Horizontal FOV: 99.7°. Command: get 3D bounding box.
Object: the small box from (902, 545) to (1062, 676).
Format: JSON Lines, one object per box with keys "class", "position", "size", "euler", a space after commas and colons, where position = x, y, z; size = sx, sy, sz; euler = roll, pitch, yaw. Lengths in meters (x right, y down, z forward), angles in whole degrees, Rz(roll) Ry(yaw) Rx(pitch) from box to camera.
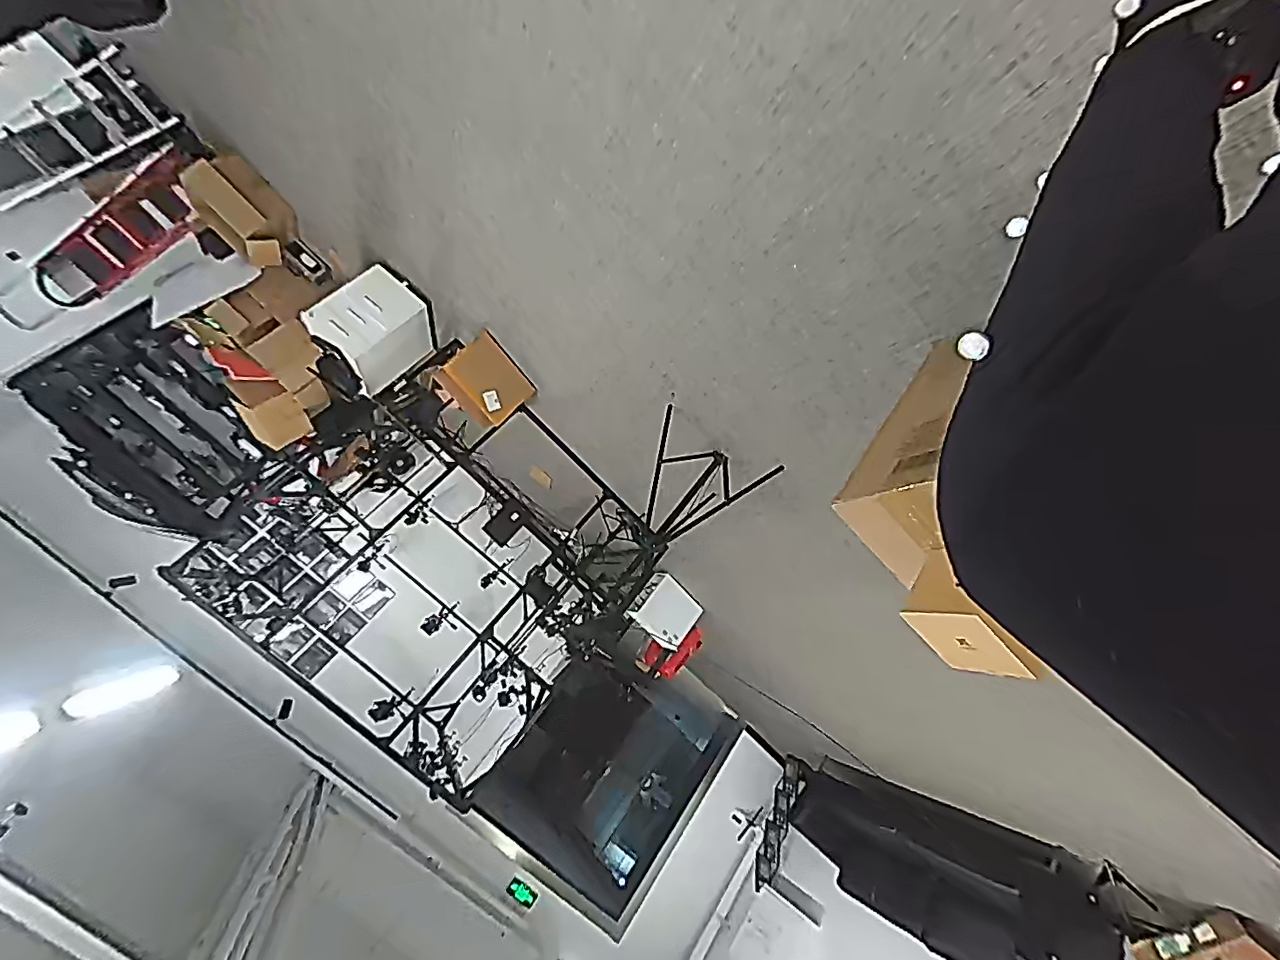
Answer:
{"class": "small box", "position": [0.639, 0.235, 1.013], "size": [0.179, 0.176, 0.168], "euler": [44, 156, -9]}
